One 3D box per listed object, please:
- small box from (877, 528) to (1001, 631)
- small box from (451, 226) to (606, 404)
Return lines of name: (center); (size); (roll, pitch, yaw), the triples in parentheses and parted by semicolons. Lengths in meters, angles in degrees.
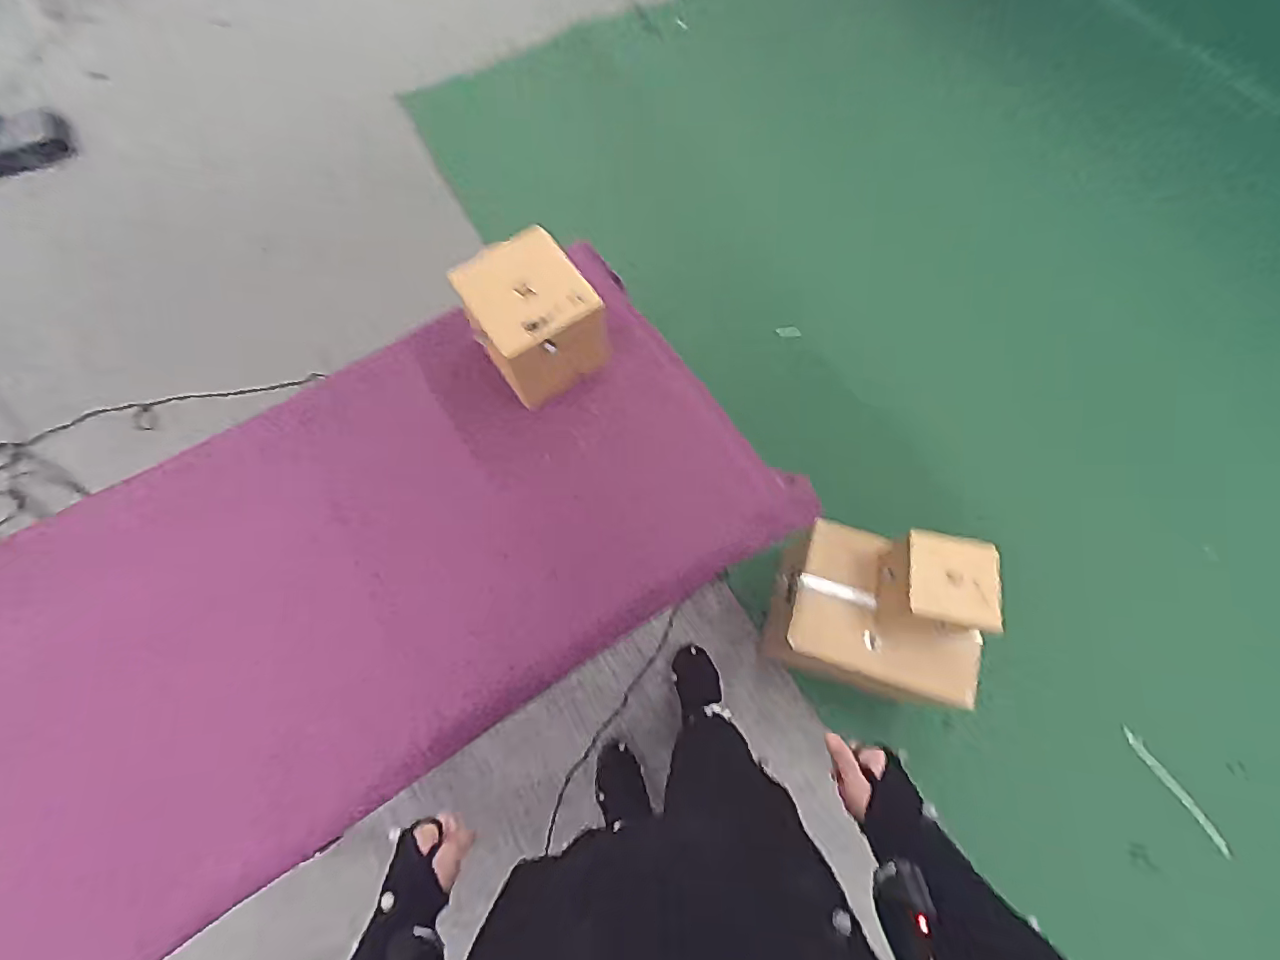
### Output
small box: (0.621, 0.217, 1.143); (0.179, 0.176, 0.168); (11, 69, 3)
small box: (-0.169, -0.256, 0.869); (0.168, 0.176, 0.179); (-34, 74, -10)
